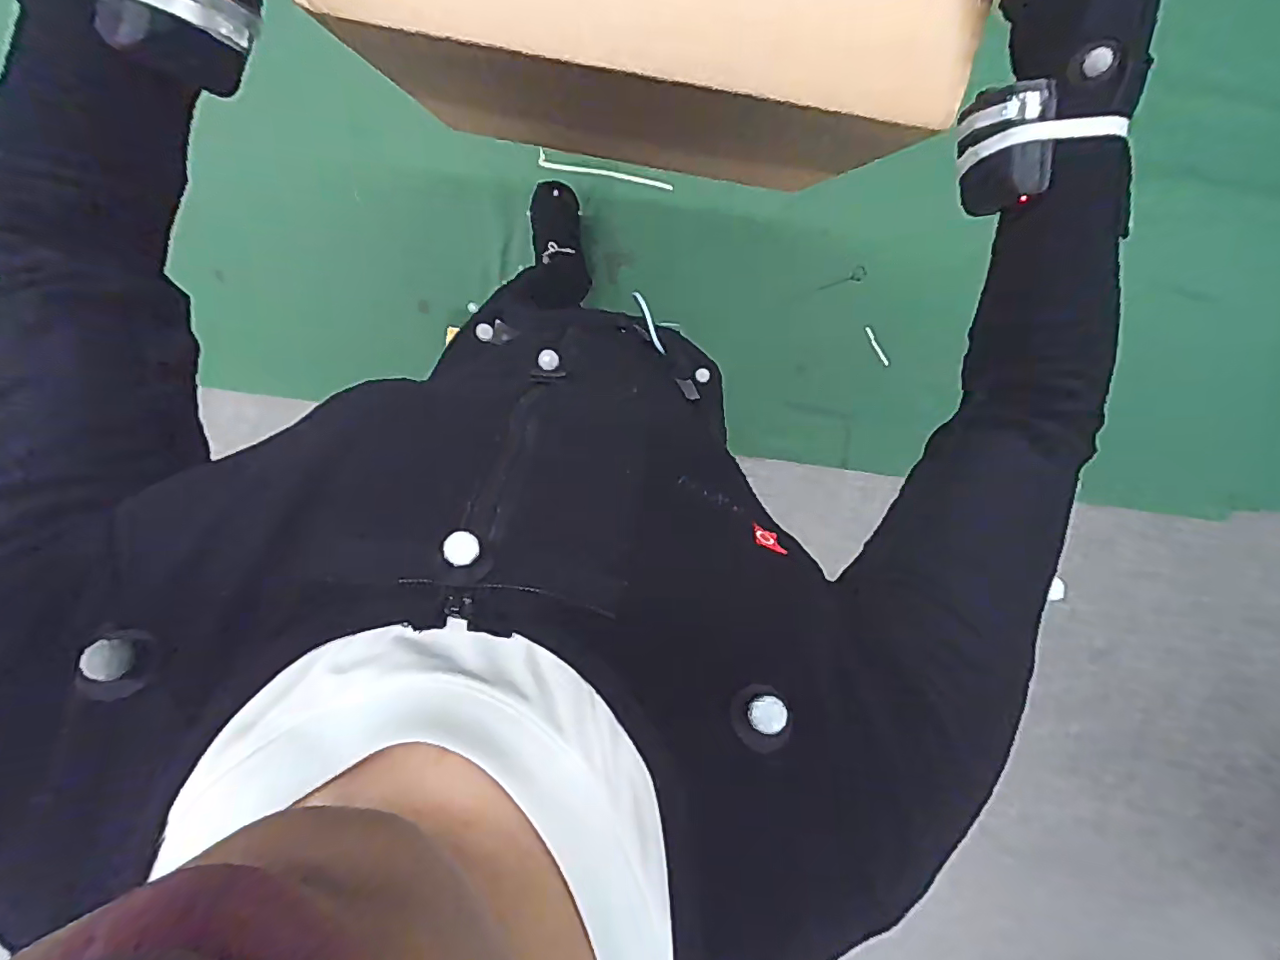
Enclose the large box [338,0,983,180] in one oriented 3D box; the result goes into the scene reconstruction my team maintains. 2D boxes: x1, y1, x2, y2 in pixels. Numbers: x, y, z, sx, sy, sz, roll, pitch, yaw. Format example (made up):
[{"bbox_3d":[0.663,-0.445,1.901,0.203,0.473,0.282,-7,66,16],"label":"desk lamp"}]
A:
[{"bbox_3d":[0.022,-0.457,0.426,0.408,0.320,0.320,6,112,-6],"label":"large box"}]
